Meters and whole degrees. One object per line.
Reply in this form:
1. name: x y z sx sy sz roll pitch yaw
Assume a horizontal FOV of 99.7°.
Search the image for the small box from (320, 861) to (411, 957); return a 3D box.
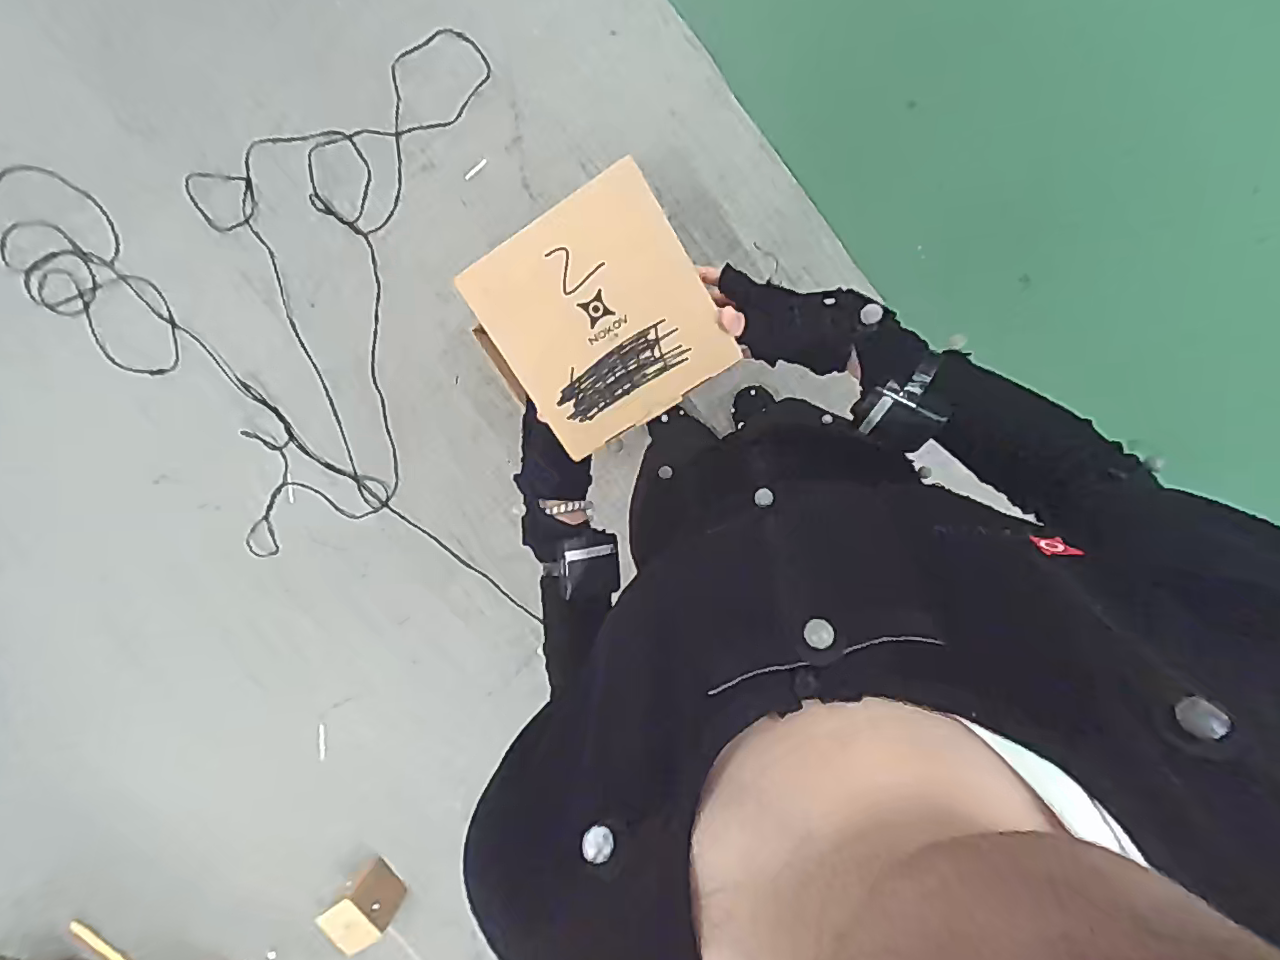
1. small box: -0.926 1.447 1.840 0.168 0.176 0.179 -38 95 12
